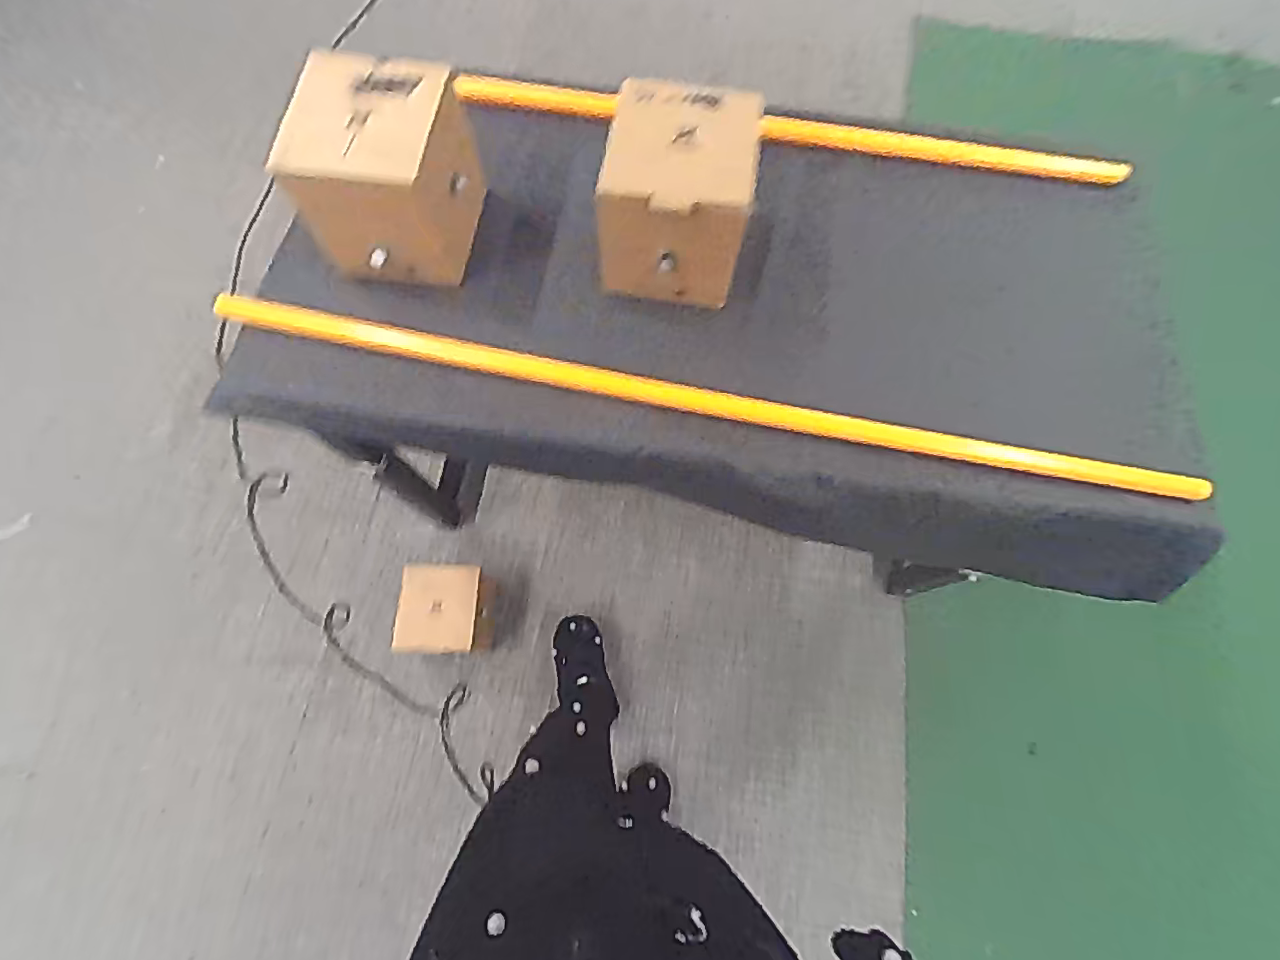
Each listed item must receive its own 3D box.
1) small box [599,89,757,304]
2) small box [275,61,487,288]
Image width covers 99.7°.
[{"bbox_3d":[0.047,-0.346,0.680,0.168,0.176,0.179,6,70,3],"label":"small box"},{"bbox_3d":[-0.304,-0.375,0.682,0.168,0.176,0.179,7,71,2],"label":"small box"}]
